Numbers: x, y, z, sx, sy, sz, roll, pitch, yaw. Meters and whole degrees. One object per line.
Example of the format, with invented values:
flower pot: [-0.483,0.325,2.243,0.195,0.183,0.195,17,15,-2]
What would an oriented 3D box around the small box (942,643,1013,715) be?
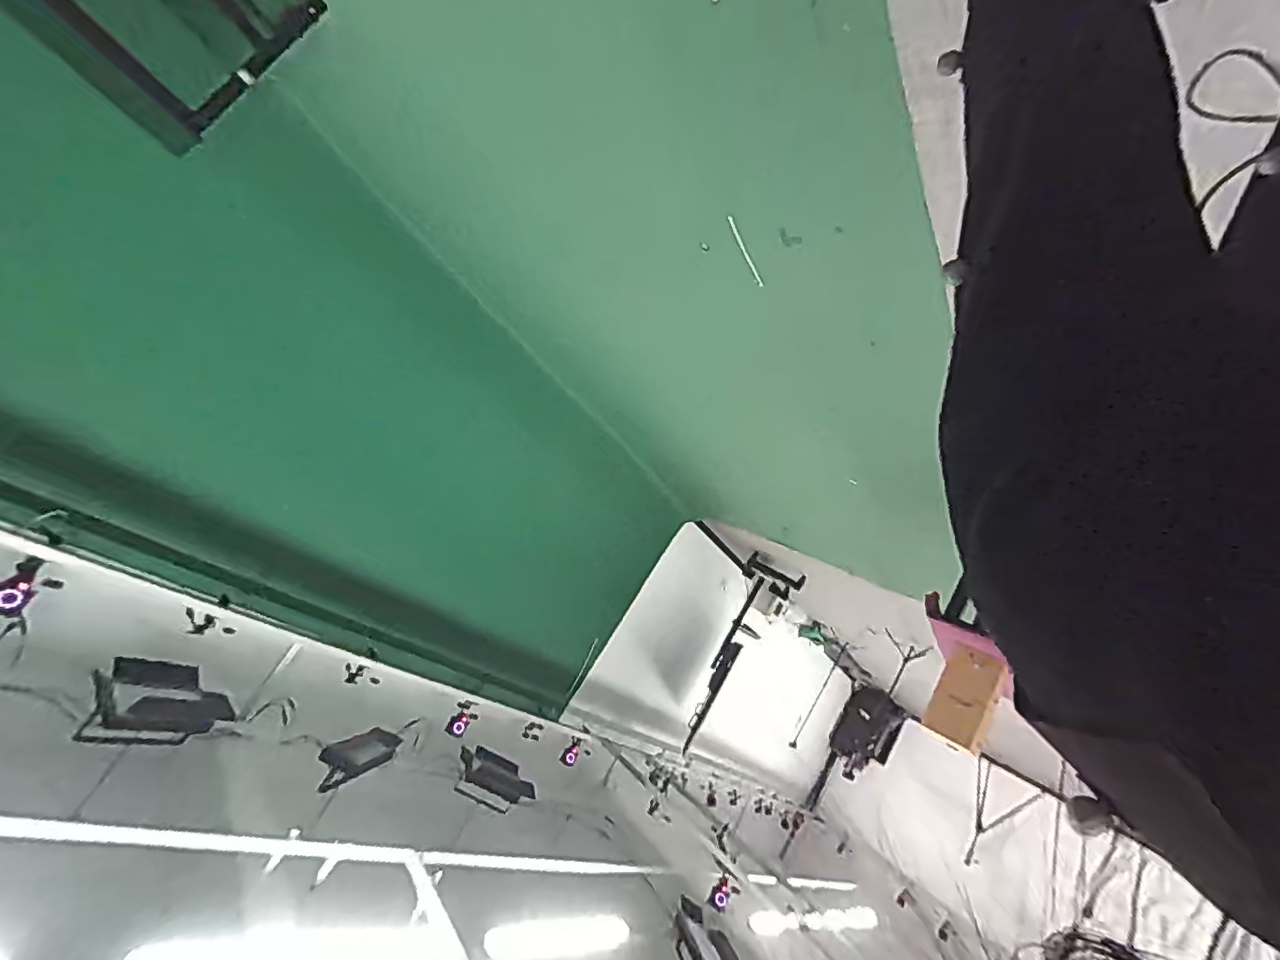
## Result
small box: [1.223,0.719,1.951,0.168,0.176,0.179,20,162,44]

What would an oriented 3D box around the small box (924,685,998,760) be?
small box: [1.142,0.856,1.914,0.168,0.176,0.179,18,162,46]
